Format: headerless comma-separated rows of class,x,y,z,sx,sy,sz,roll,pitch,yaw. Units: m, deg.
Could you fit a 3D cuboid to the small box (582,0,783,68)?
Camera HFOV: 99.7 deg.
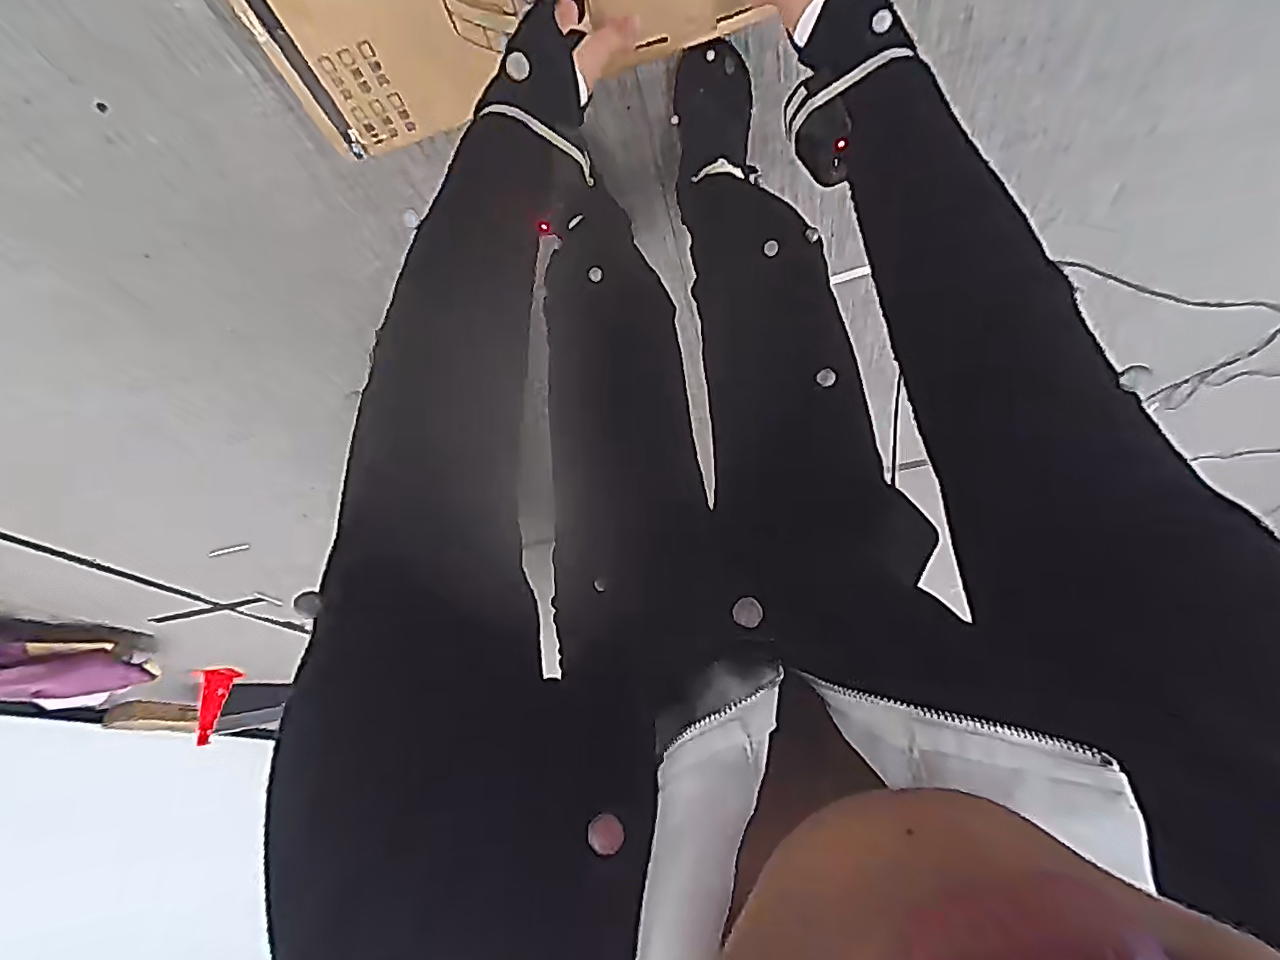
small box,0.017,-0.494,0.458,0.168,0.176,0.179,-14,138,5

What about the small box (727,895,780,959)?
small box,0.454,1.779,2.154,0.168,0.176,0.179,-15,150,12
